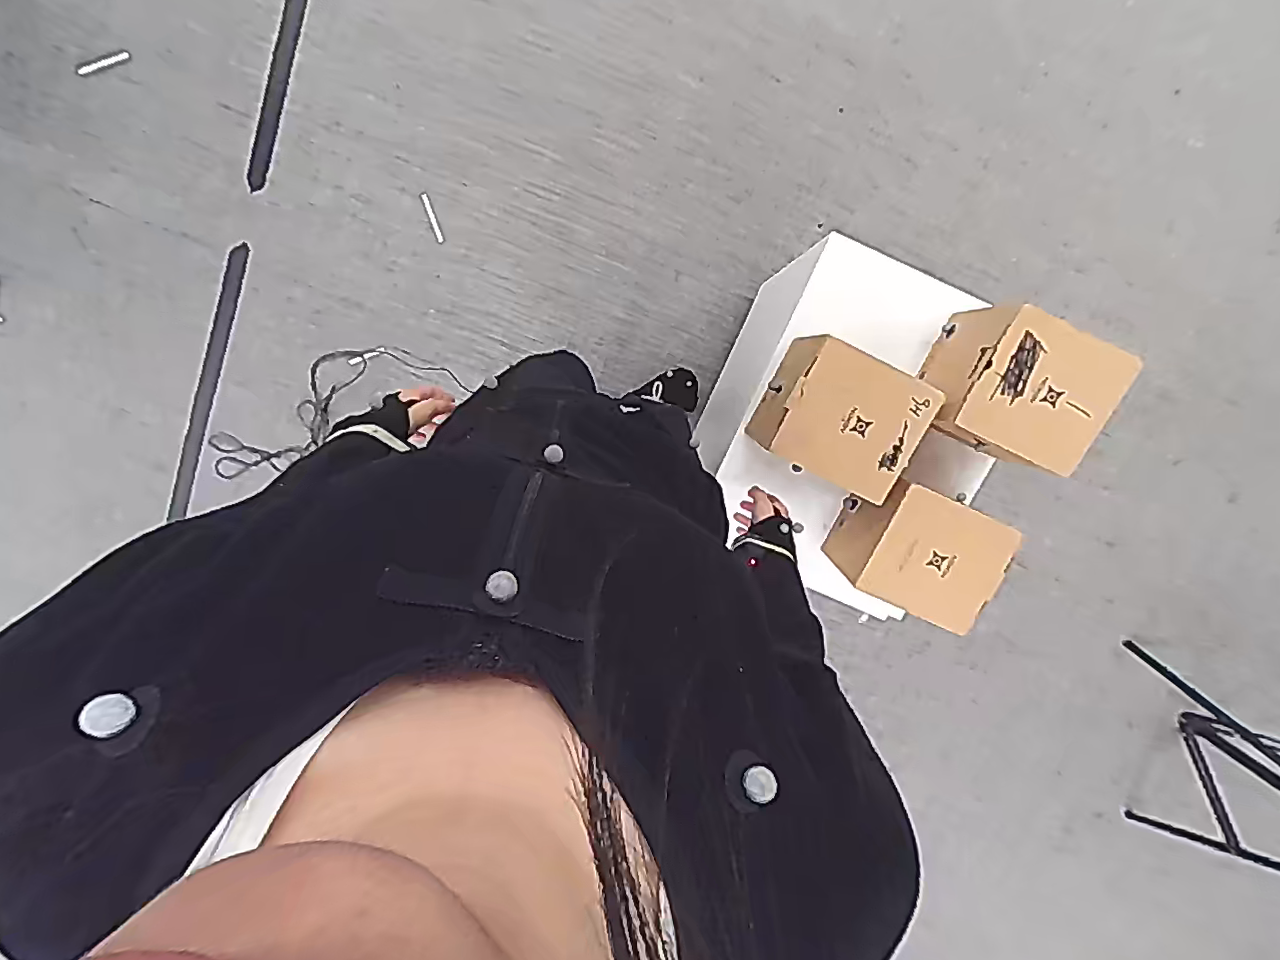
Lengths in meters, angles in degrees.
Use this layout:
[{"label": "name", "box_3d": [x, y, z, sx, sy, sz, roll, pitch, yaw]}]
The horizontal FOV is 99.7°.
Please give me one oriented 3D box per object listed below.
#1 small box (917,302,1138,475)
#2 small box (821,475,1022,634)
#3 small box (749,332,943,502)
[{"label": "small box", "box_3d": [0.508, -0.127, 0.757, 0.179, 0.176, 0.168, 25, 102, -4]}, {"label": "small box", "box_3d": [0.404, 0.094, 0.811, 0.179, 0.176, 0.168, 24, 100, -2]}, {"label": "small box", "box_3d": [0.275, -0.092, 0.773, 0.179, 0.176, 0.168, 26, 102, -4]}]
